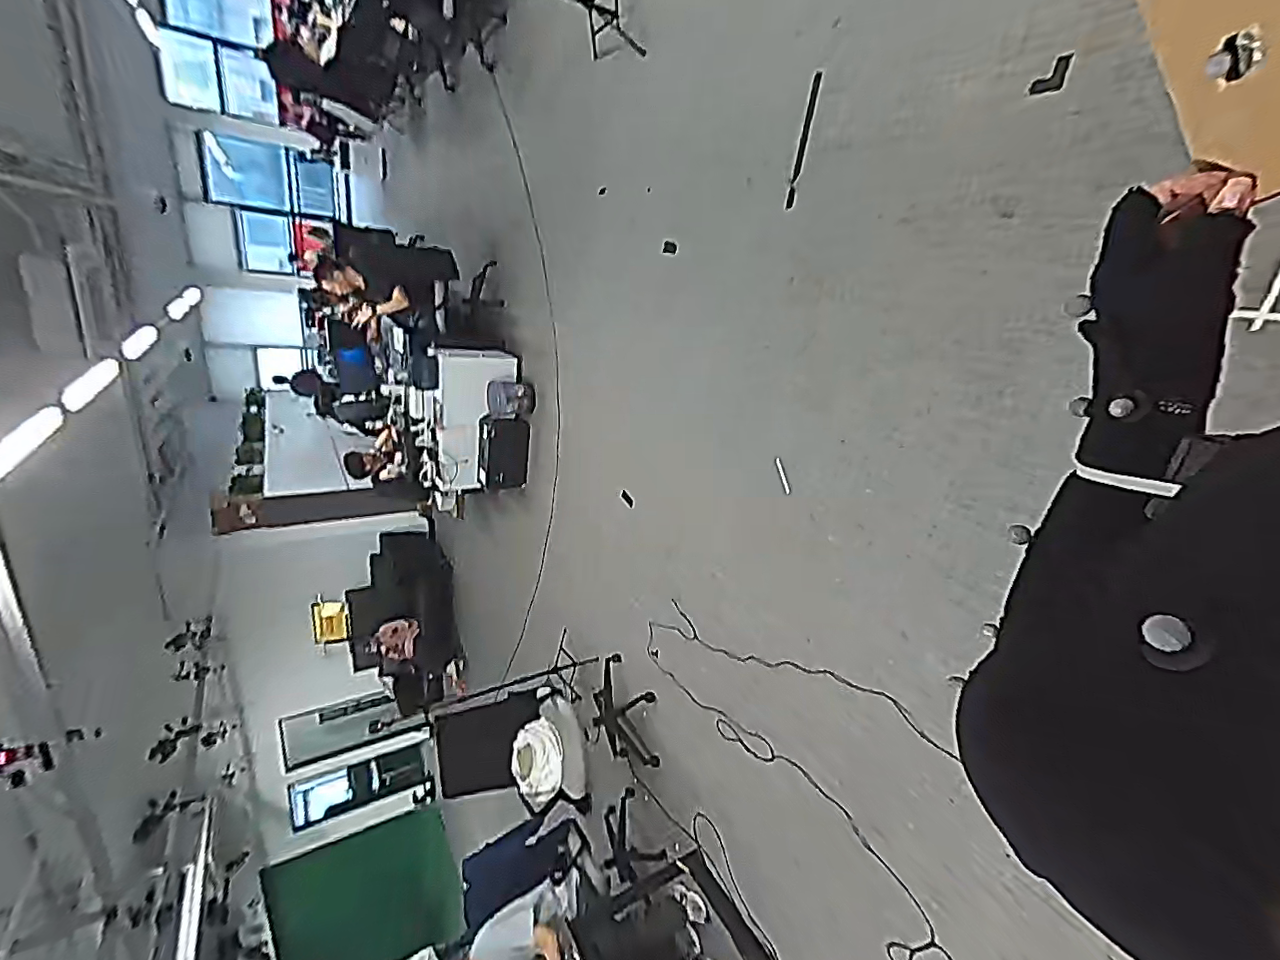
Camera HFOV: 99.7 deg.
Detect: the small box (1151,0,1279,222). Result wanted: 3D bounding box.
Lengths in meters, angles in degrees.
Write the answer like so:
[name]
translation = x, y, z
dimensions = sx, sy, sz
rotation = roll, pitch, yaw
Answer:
[small box]
translation = 0.387, -0.255, 0.237
dimensions = 0.179, 0.168, 0.176
rotation = -20, 94, 12
